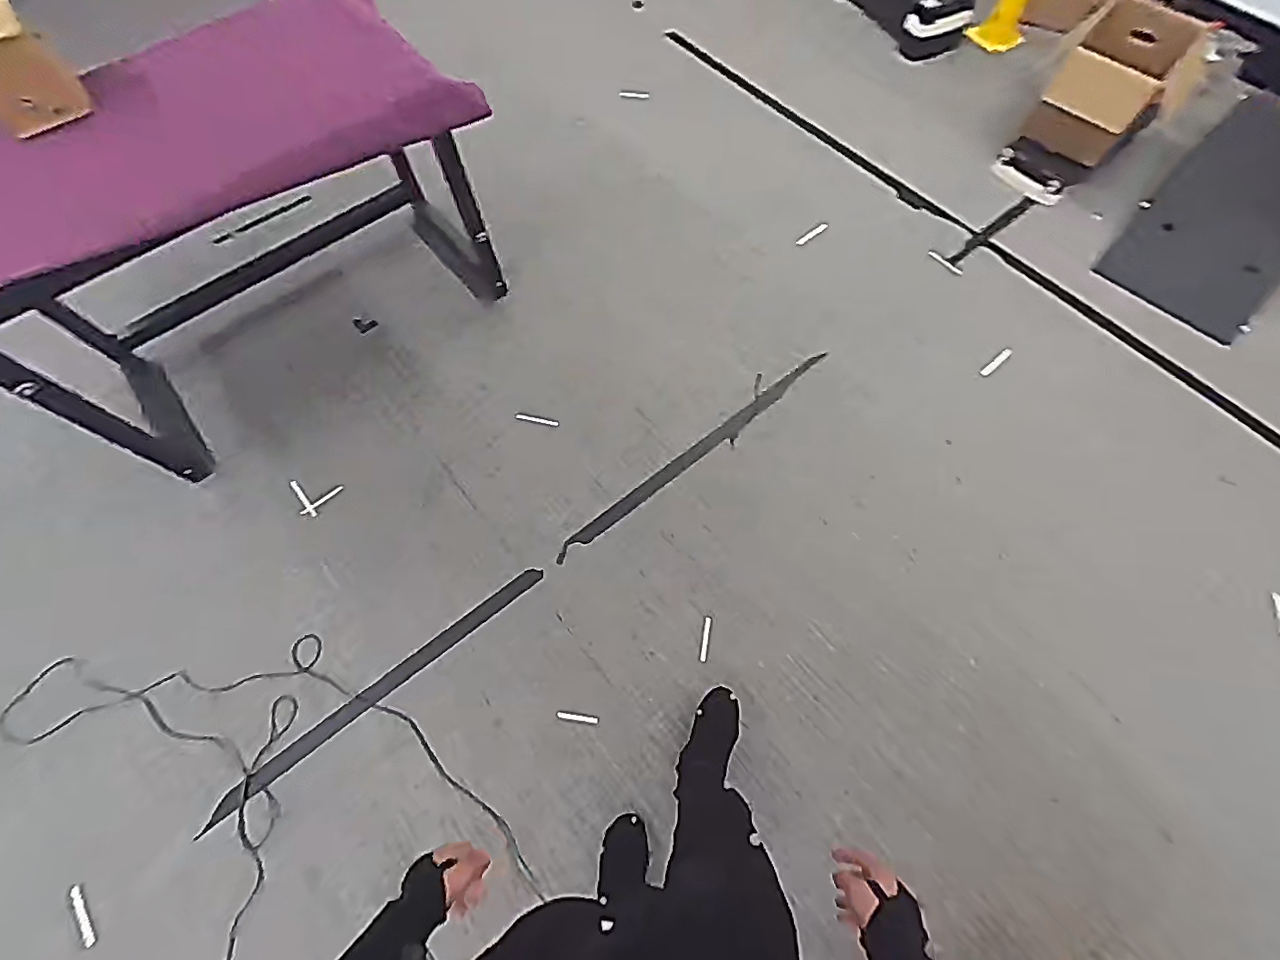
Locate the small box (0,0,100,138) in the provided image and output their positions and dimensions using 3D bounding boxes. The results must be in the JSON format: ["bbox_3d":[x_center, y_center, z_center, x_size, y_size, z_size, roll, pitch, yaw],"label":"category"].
[{"bbox_3d":[-1.385,-0.914,1.211,0.168,0.176,0.179,-35,71,-13],"label":"small box"}]
